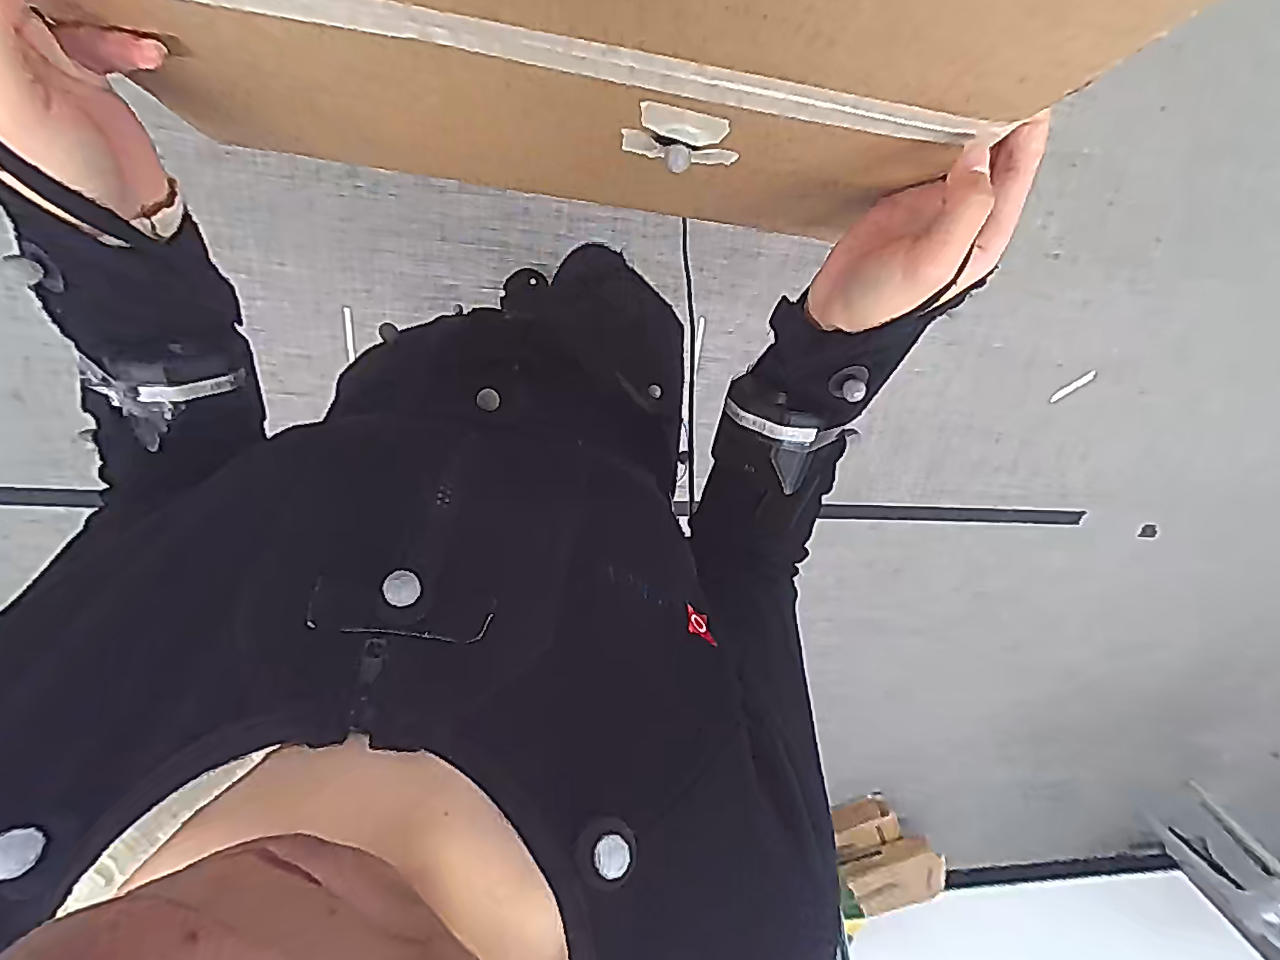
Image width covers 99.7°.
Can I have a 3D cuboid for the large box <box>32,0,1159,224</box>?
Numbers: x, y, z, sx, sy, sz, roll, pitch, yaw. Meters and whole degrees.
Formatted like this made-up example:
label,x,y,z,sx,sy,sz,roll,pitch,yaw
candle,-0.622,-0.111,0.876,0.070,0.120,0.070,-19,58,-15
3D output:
label,x,y,z,sx,sy,sz,roll,pitch,yaw
large box,-0.030,-0.325,0.192,0.408,0.320,0.320,4,98,-7
